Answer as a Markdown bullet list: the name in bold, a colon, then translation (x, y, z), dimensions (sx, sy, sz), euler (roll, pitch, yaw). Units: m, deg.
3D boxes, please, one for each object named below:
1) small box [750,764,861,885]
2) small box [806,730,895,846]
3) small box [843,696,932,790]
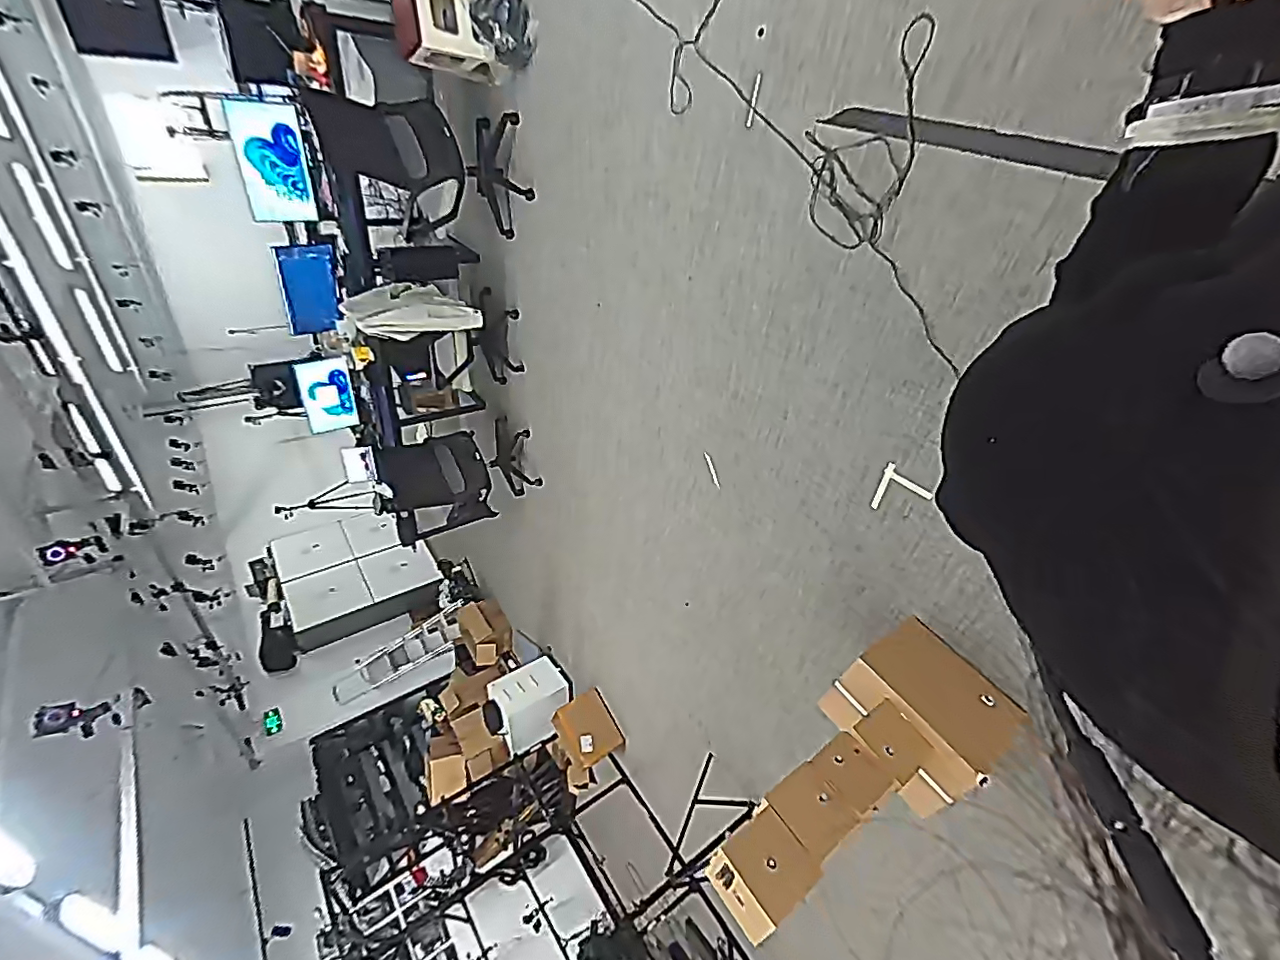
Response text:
- **small box**: translation (0.410, 0.847, 1.351), dimensions (0.179, 0.176, 0.168), euler (43, 138, 38)
- **small box**: translation (0.545, 0.807, 1.435), dimensions (0.168, 0.176, 0.179), euler (37, 135, 43)
- **small box**: translation (0.673, 0.747, 1.516), dimensions (0.179, 0.176, 0.168), euler (50, 142, 31)
